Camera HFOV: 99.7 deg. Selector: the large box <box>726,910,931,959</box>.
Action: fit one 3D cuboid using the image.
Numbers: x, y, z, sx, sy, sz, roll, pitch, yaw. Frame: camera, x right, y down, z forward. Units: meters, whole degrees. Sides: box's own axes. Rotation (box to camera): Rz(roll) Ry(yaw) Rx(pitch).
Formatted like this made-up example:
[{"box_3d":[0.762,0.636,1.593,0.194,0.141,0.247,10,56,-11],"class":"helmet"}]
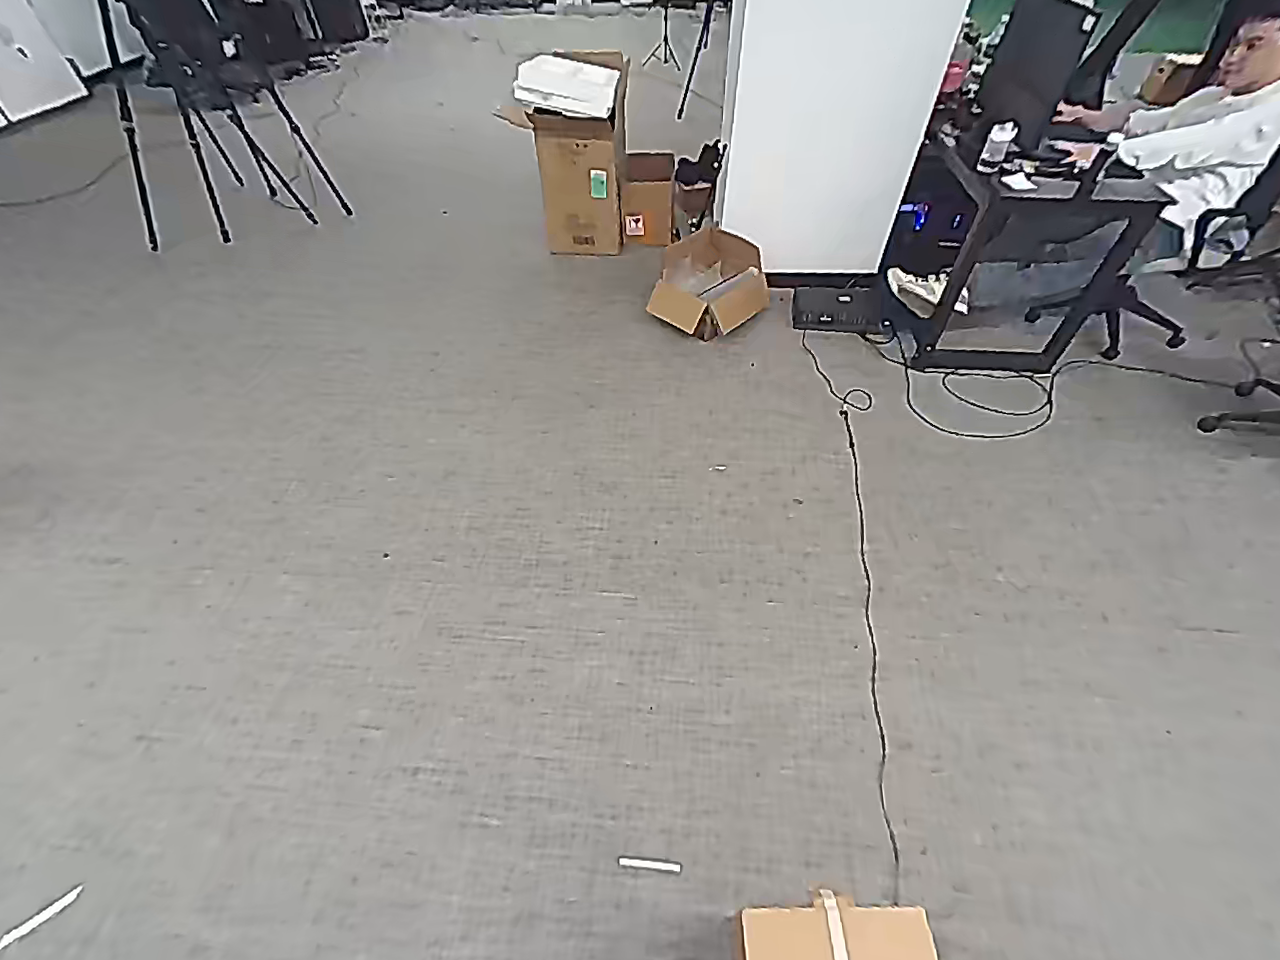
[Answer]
[{"box_3d":[0.336,0.998,0.921,0.320,0.320,0.408,-2,50,2],"class":"large box"}]
